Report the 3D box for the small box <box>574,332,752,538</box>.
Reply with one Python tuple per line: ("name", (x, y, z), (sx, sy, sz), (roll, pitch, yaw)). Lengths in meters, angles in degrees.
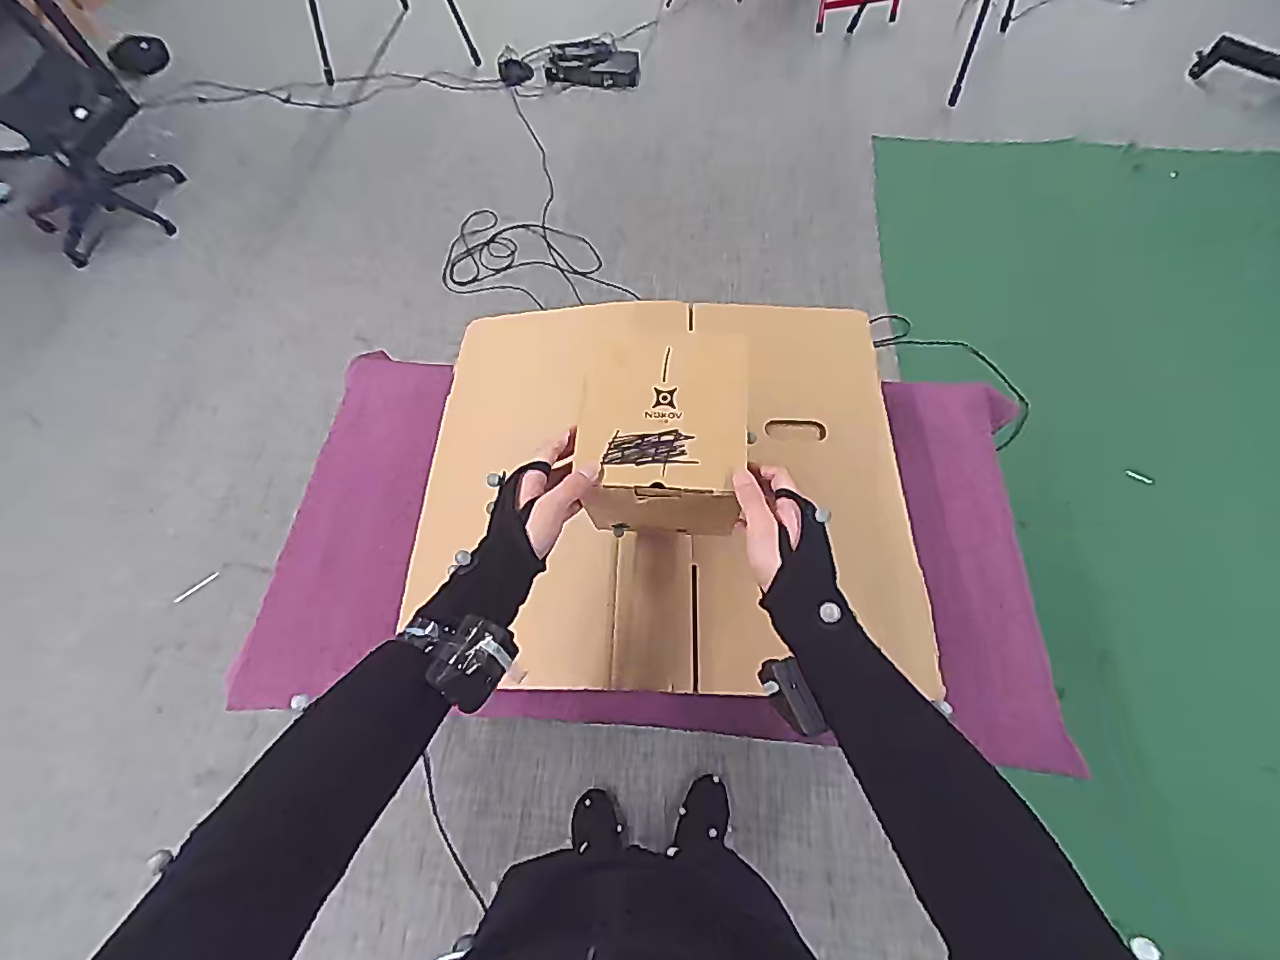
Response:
("small box", (0.031, -0.040, 0.601), (0.168, 0.176, 0.179), (3, 69, 5))
